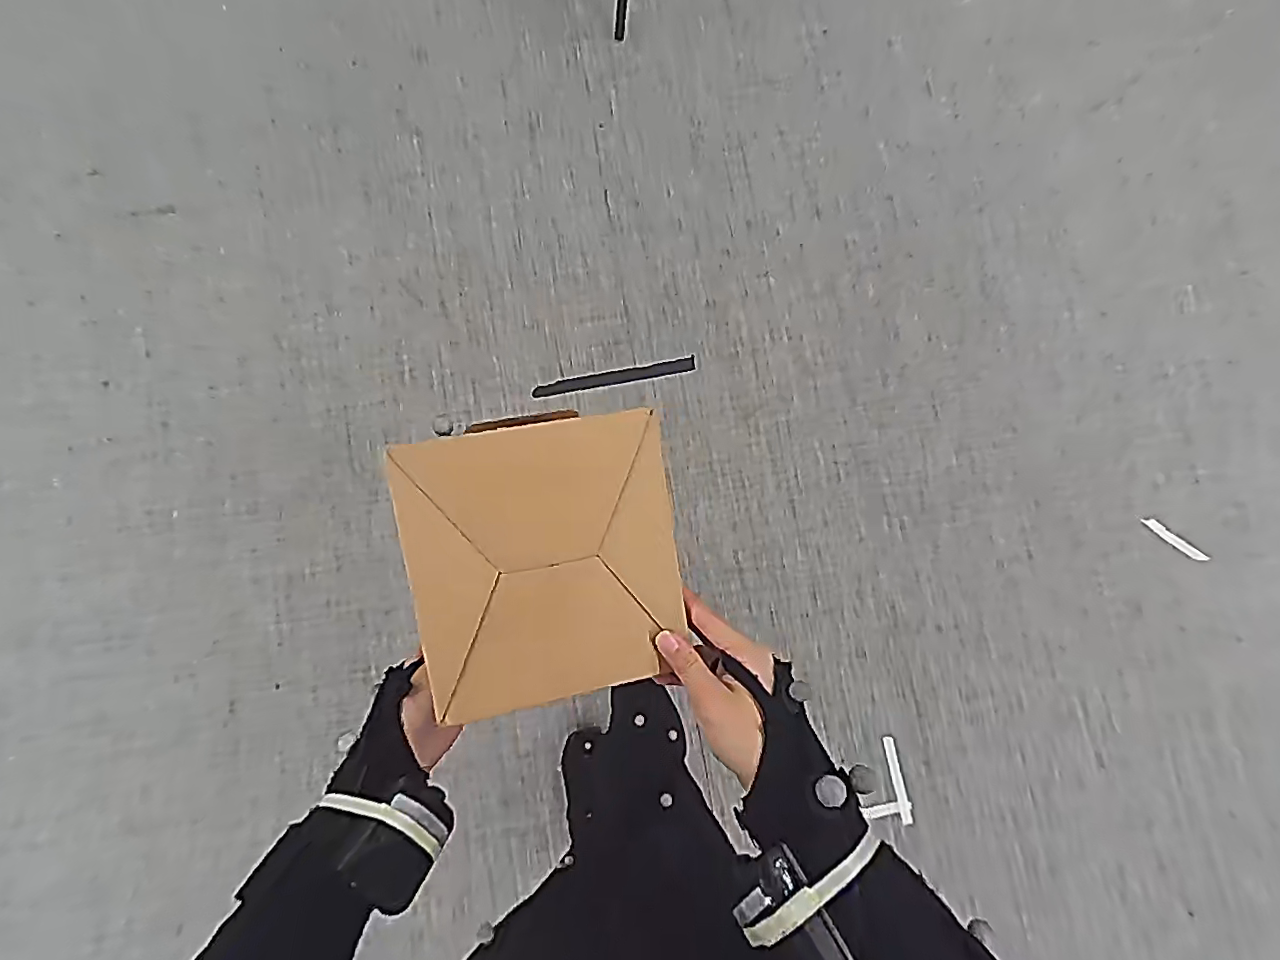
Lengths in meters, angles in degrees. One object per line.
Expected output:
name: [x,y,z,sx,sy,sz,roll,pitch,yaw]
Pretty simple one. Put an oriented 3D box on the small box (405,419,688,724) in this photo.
small box: [-0.071,0.051,0.419,0.168,0.176,0.179,-10,95,-12]
